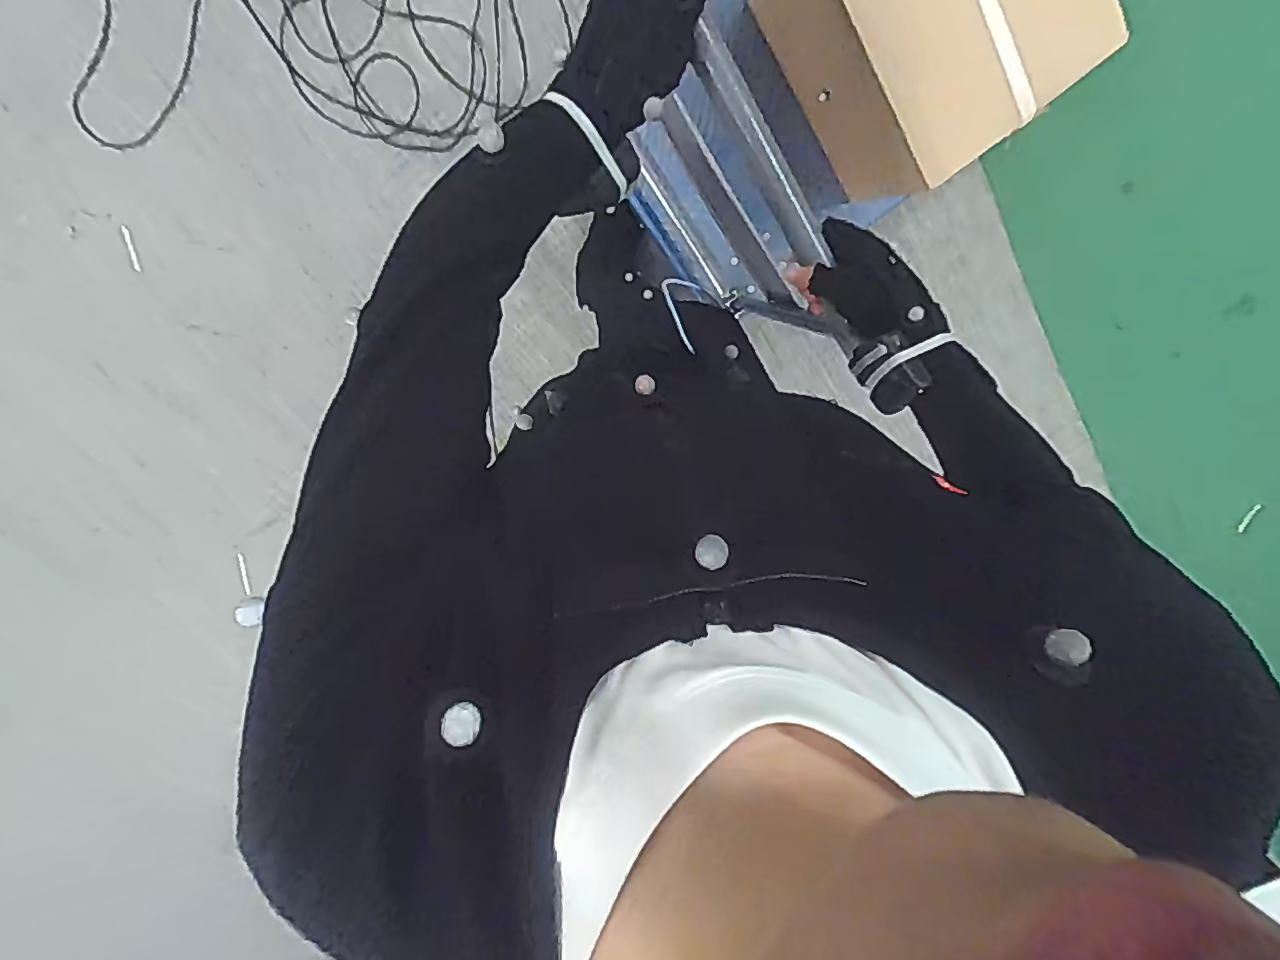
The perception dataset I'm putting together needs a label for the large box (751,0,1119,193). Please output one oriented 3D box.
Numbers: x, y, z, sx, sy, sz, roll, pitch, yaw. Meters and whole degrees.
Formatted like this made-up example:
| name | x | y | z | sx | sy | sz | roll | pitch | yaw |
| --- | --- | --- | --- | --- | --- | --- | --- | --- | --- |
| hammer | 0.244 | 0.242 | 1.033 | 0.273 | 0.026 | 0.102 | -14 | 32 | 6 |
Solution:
| name | x | y | z | sx | sy | sz | roll | pitch | yaw |
| --- | --- | --- | --- | --- | --- | --- | --- | --- | --- |
| large box | 0.437 | -0.746 | 0.868 | 0.320 | 0.320 | 0.408 | -36 | 111 | 12 |
